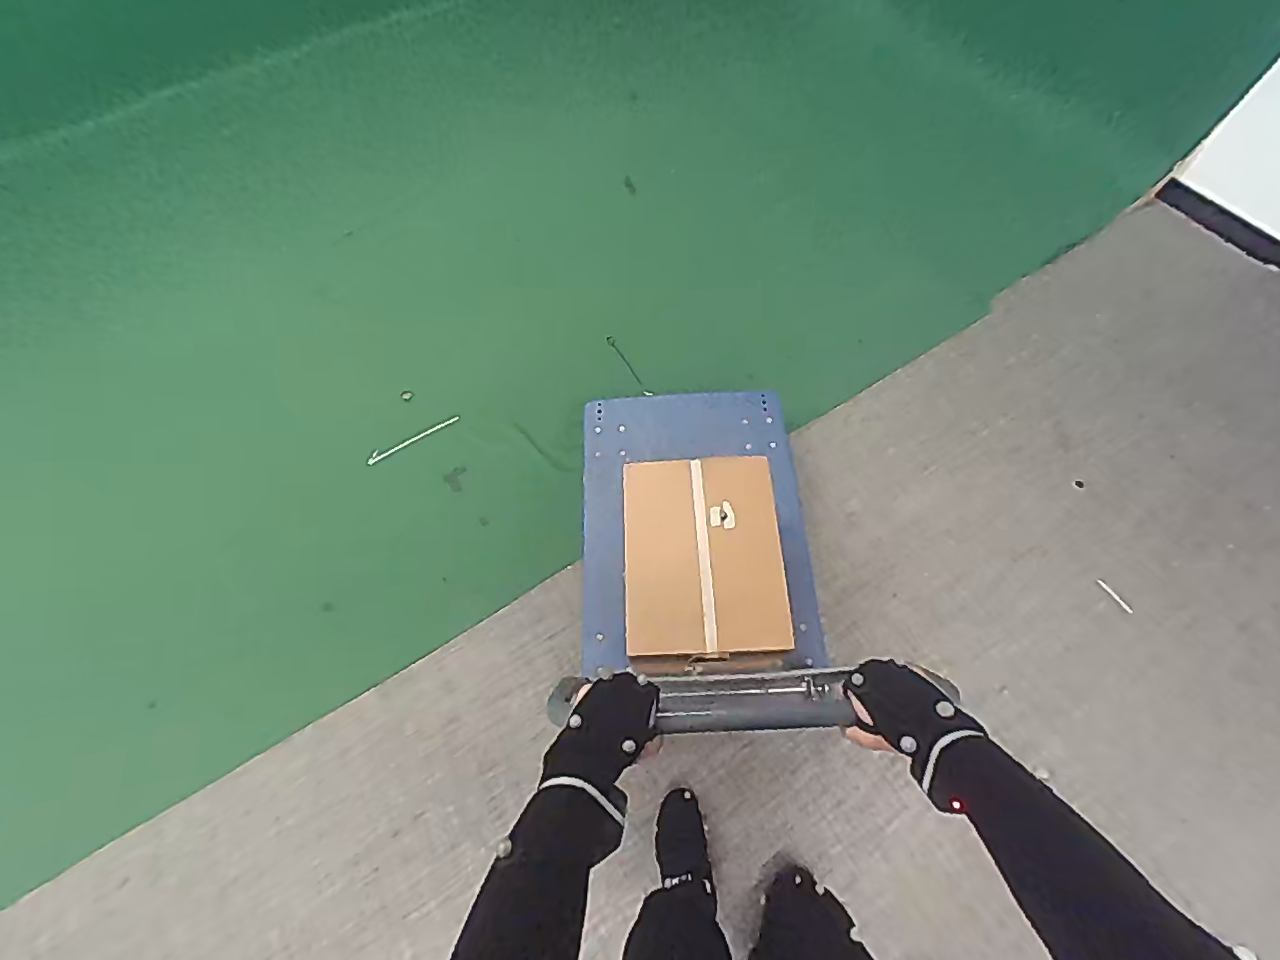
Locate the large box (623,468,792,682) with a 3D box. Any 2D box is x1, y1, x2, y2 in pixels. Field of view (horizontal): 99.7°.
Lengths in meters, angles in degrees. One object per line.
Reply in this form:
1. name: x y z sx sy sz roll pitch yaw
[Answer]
1. large box: 0.135 0.226 1.233 0.320 0.320 0.408 -3 63 2
